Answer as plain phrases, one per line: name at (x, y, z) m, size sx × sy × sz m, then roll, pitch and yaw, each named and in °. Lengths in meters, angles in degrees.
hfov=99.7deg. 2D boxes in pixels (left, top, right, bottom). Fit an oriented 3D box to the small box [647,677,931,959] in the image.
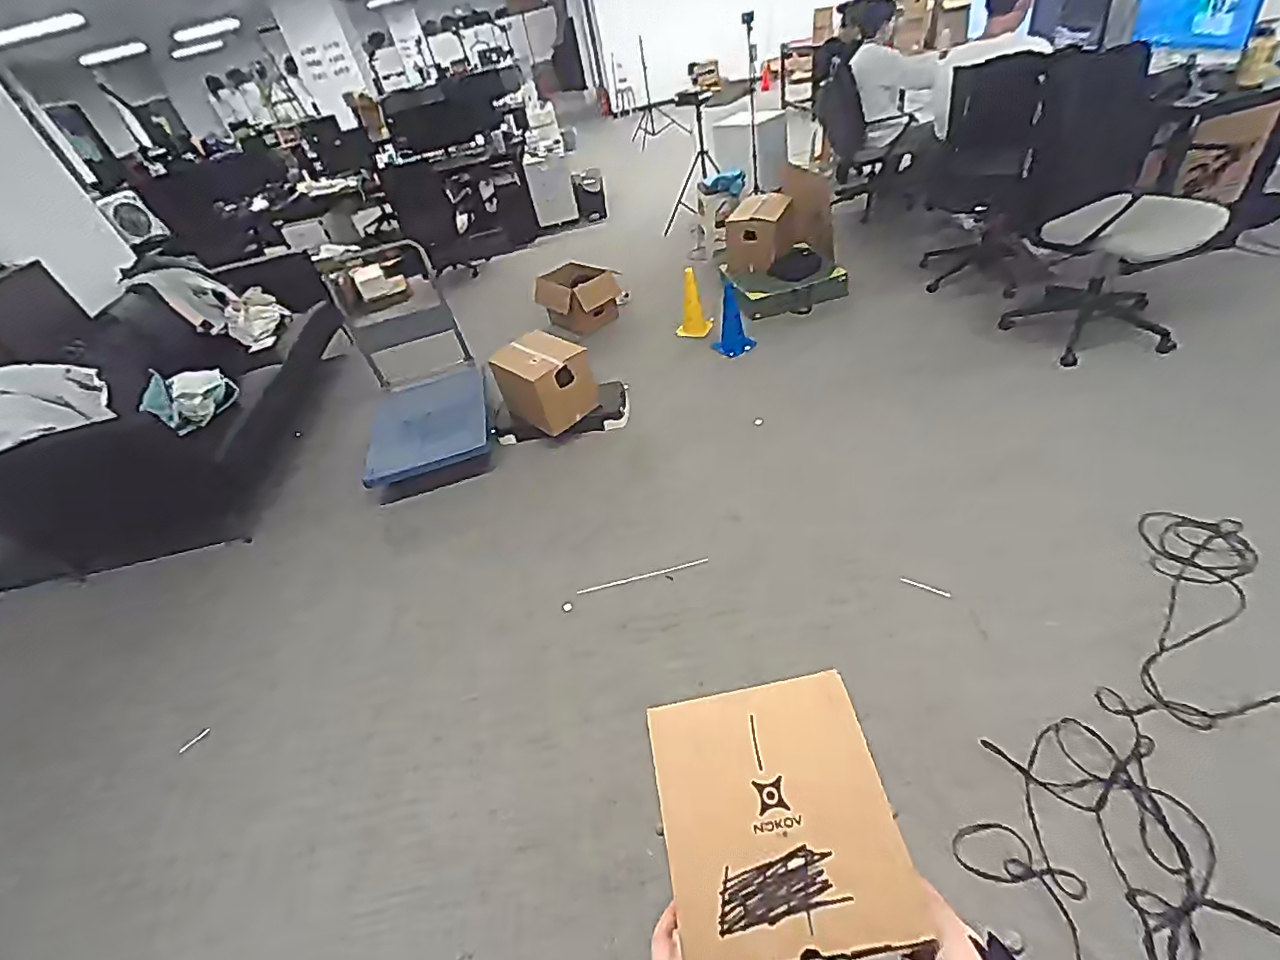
small box at (0.109, 0.291, 0.458) m, size 0.168 × 0.176 × 0.179 m, roll -12°, pitch 52°, yaw 2°
